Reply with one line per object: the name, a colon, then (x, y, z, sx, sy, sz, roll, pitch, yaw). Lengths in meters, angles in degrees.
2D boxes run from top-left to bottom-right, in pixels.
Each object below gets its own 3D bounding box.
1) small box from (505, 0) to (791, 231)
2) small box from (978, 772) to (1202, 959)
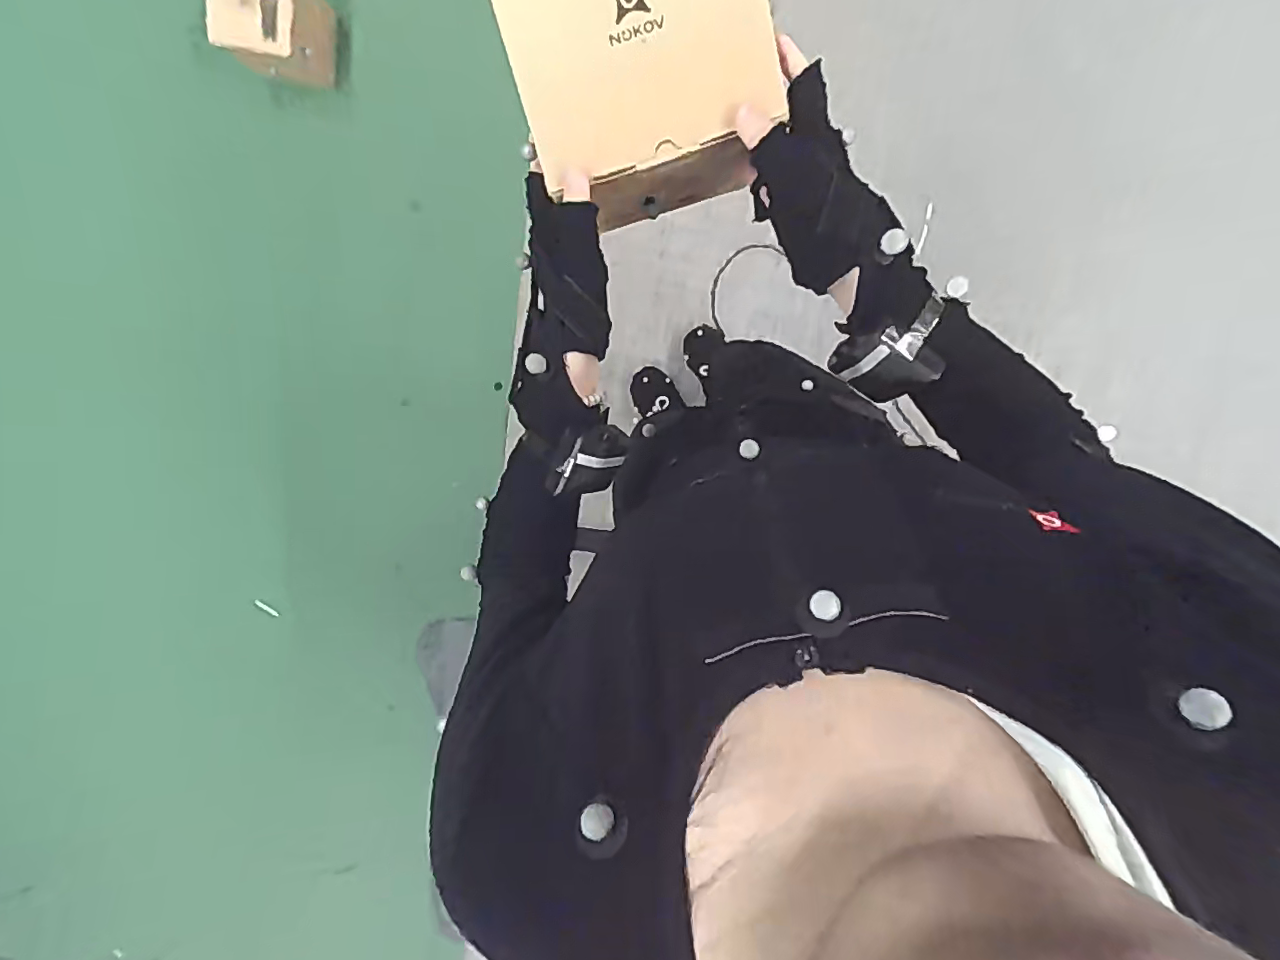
small box: (0.000, -0.315, 0.414, 0.168, 0.176, 0.179, -14, 106, 5)
small box: (0.667, 0.583, 0.829, 0.179, 0.176, 0.168, 10, 104, -2)
